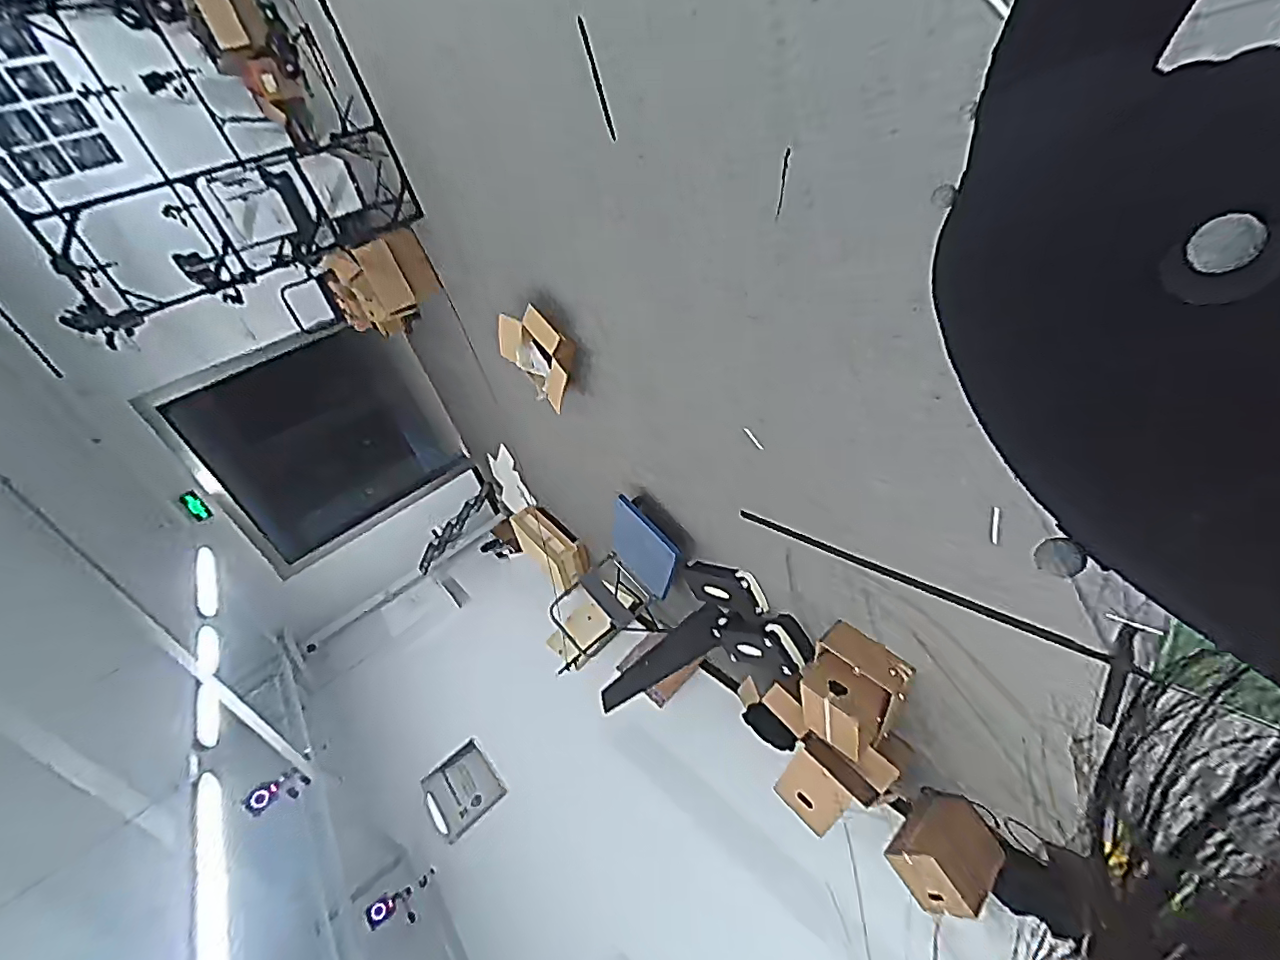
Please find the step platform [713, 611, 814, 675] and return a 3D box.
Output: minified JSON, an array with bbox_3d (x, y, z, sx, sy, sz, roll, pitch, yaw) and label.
[{"bbox_3d":[0.729,0.988,3.313,0.286,0.204,0.684,57,154,-4],"label":"step platform"}]
